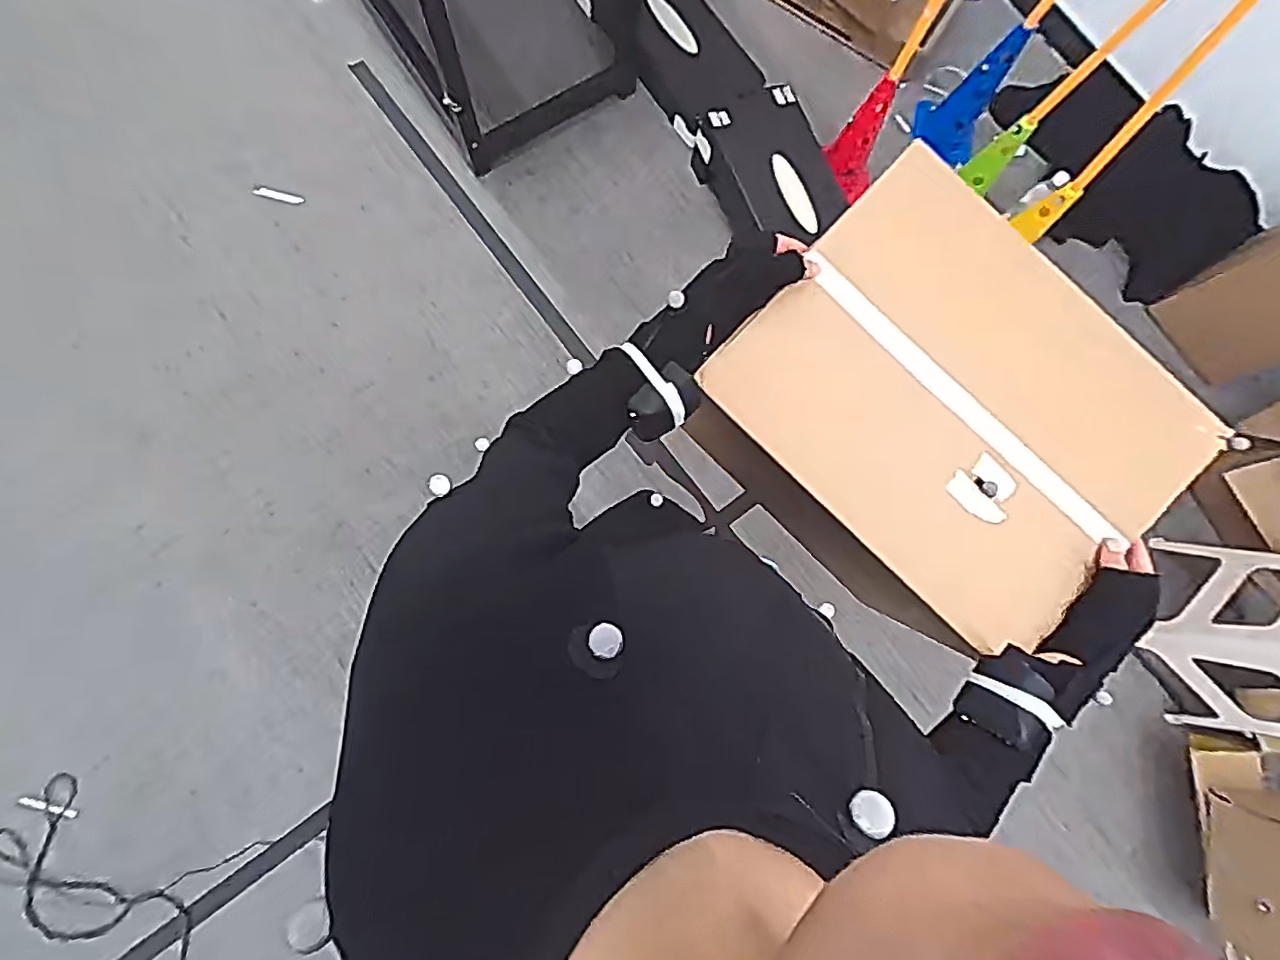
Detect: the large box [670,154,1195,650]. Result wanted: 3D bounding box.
[{"bbox_3d":[0.292,-0.076,0.670,0.408,0.320,0.320,44,90,-1],"label":"large box"}]
